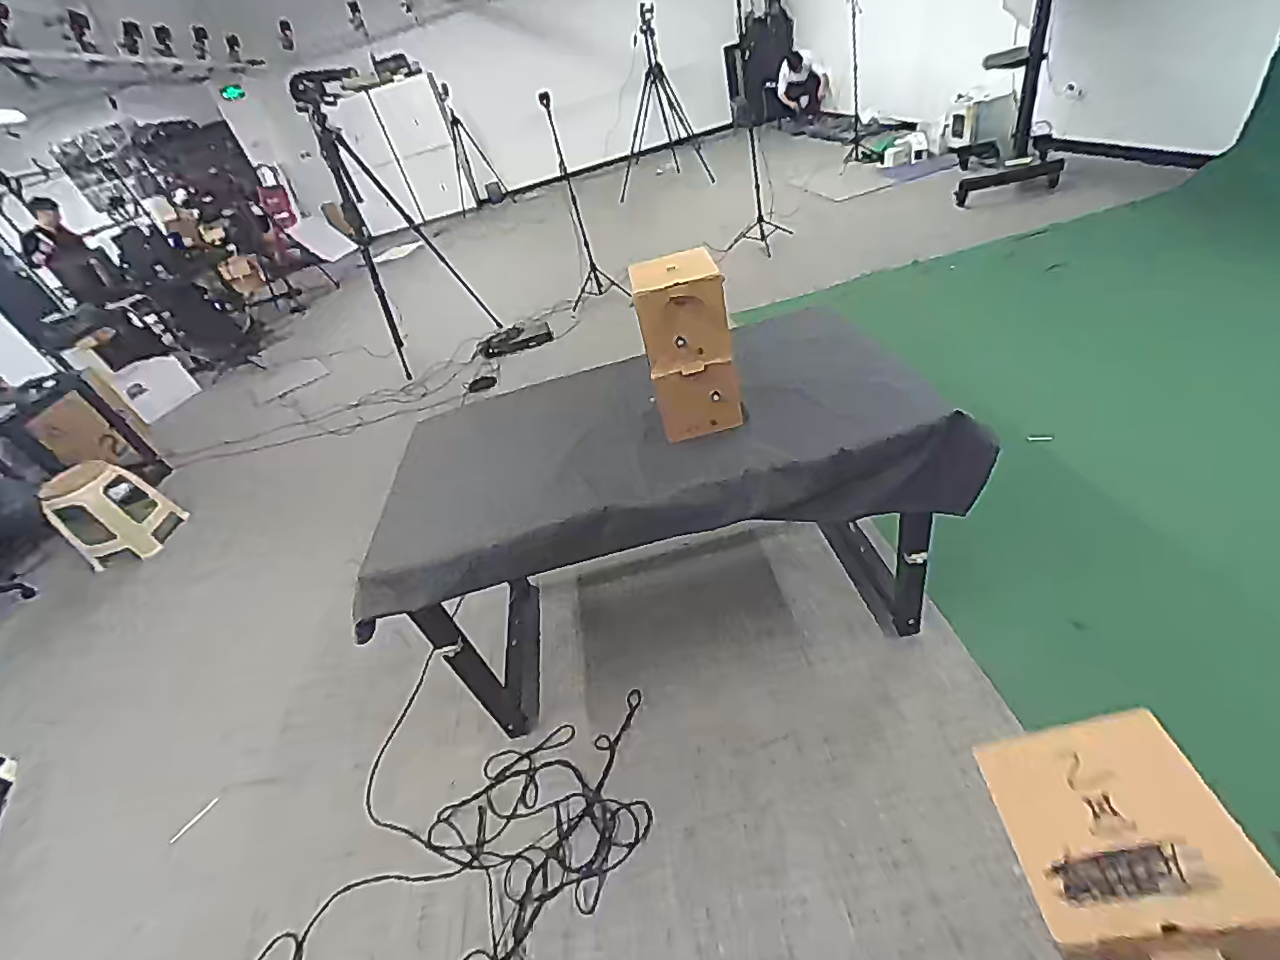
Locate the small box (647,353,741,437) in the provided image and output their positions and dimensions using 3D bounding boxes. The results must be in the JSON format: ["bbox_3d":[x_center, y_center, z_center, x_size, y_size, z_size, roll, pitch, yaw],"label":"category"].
[{"bbox_3d":[0.116,-0.207,1.177,0.168,0.176,0.179,-13,36,4],"label":"small box"}]

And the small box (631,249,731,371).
[{"bbox_3d":[0.081,-0.342,1.091,0.168,0.176,0.179,-13,38,4],"label":"small box"}]
